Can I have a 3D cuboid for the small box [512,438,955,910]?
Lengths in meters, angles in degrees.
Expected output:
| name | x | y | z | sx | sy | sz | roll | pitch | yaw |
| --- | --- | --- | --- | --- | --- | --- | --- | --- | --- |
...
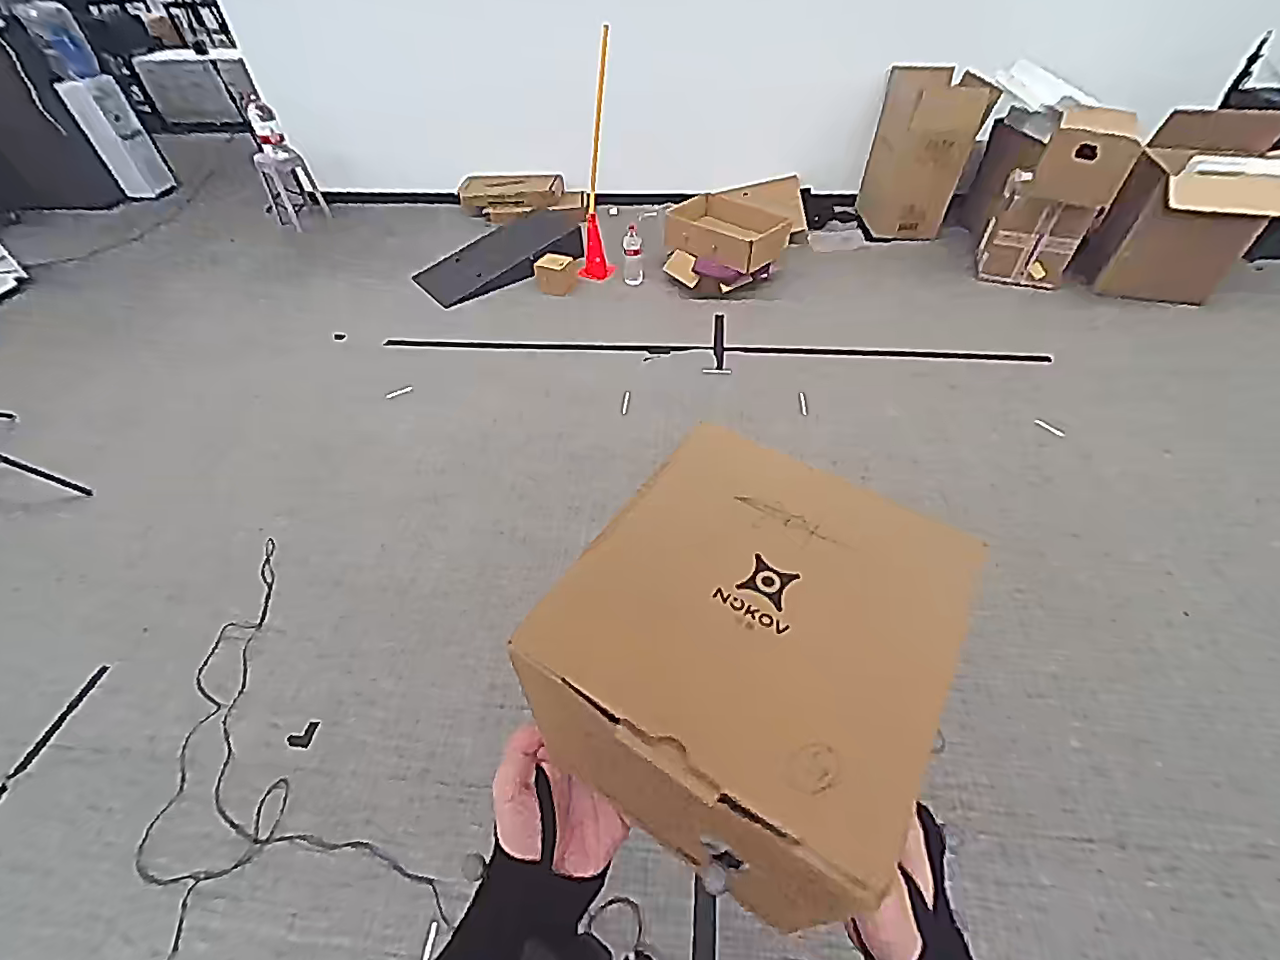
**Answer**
| name | x | y | z | sx | sy | sz | roll | pitch | yaw |
| --- | --- | --- | --- | --- | --- | --- | --- | --- | --- |
| small box | 0.053 | 0.112 | 0.324 | 0.168 | 0.176 | 0.179 | 25 | 50 | 19 |
